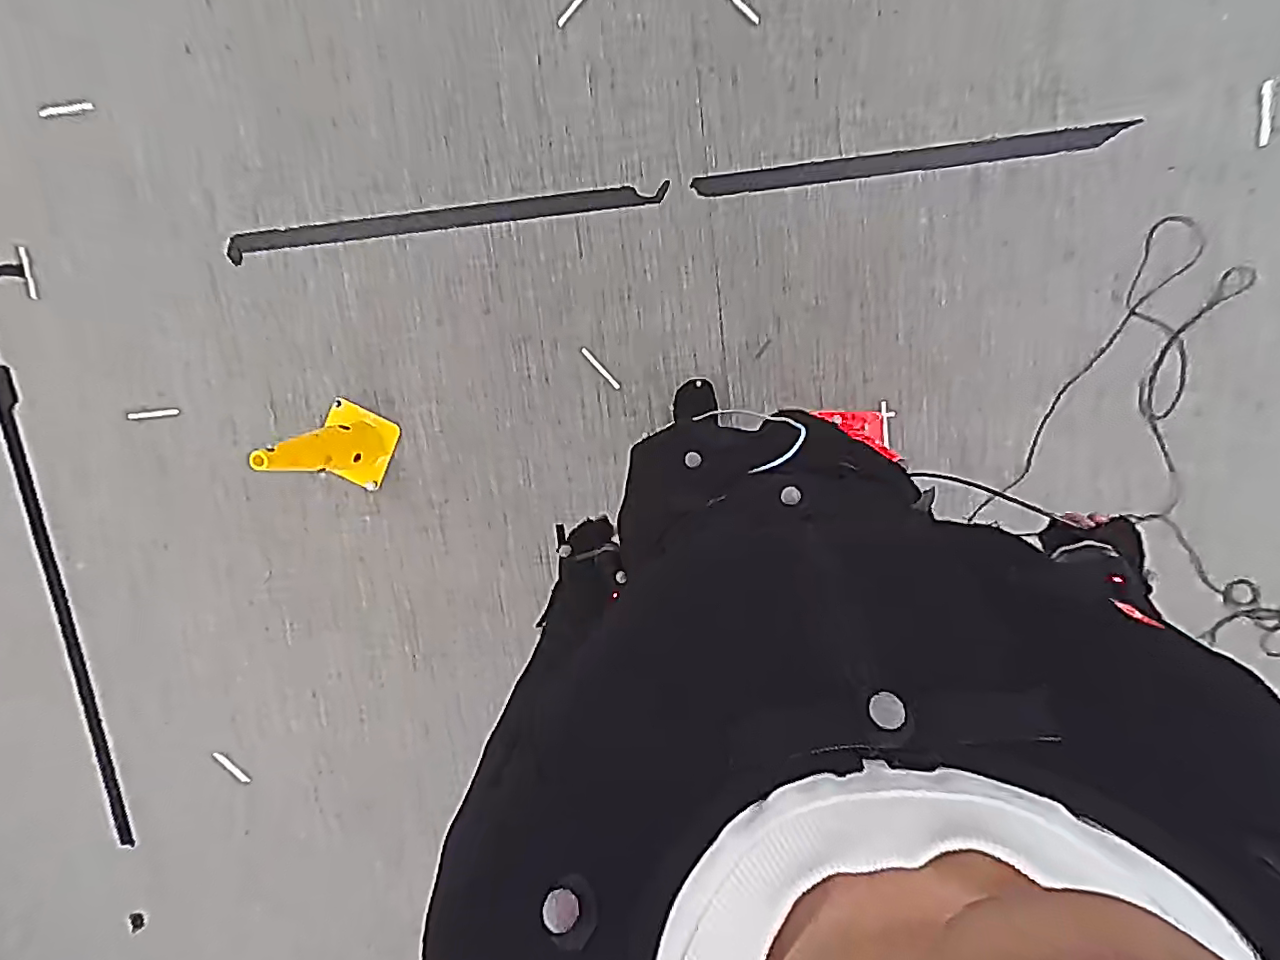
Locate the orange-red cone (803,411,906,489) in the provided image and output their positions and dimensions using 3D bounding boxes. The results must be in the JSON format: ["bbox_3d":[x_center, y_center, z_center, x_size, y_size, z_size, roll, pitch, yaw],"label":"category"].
[{"bbox_3d":[0.509,-0.054,1.220,0.199,0.360,0.198,2,98,5],"label":"orange-red cone"}]
